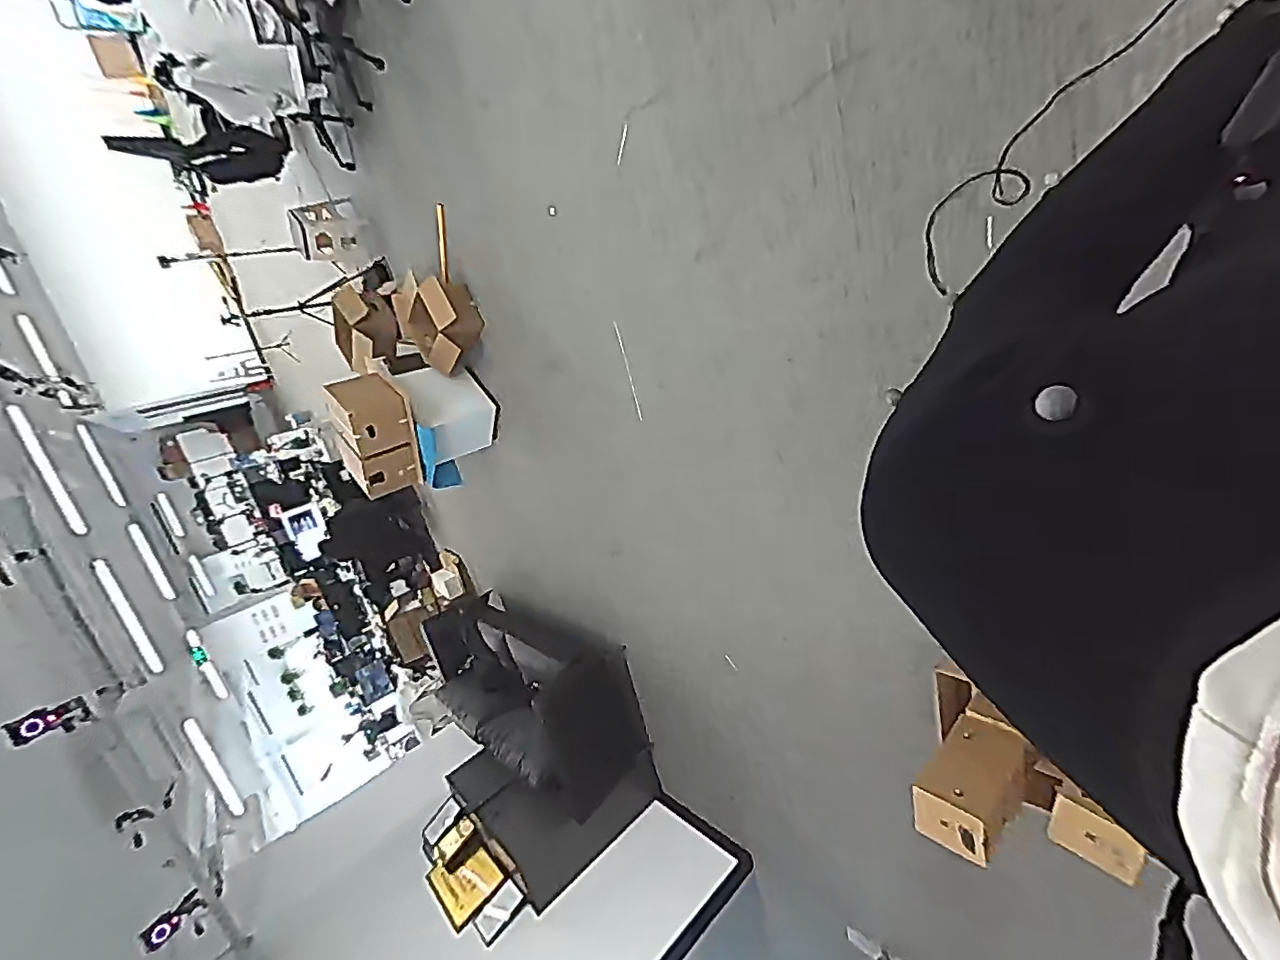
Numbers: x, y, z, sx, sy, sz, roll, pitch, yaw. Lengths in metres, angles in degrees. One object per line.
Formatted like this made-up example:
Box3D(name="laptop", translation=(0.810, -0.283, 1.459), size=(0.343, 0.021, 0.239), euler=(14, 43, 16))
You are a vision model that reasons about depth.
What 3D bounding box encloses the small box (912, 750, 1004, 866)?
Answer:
Box3D(name="small box", translation=(0.865, 0.874, 1.464), size=(0.179, 0.176, 0.168), euler=(8, 116, 49))
